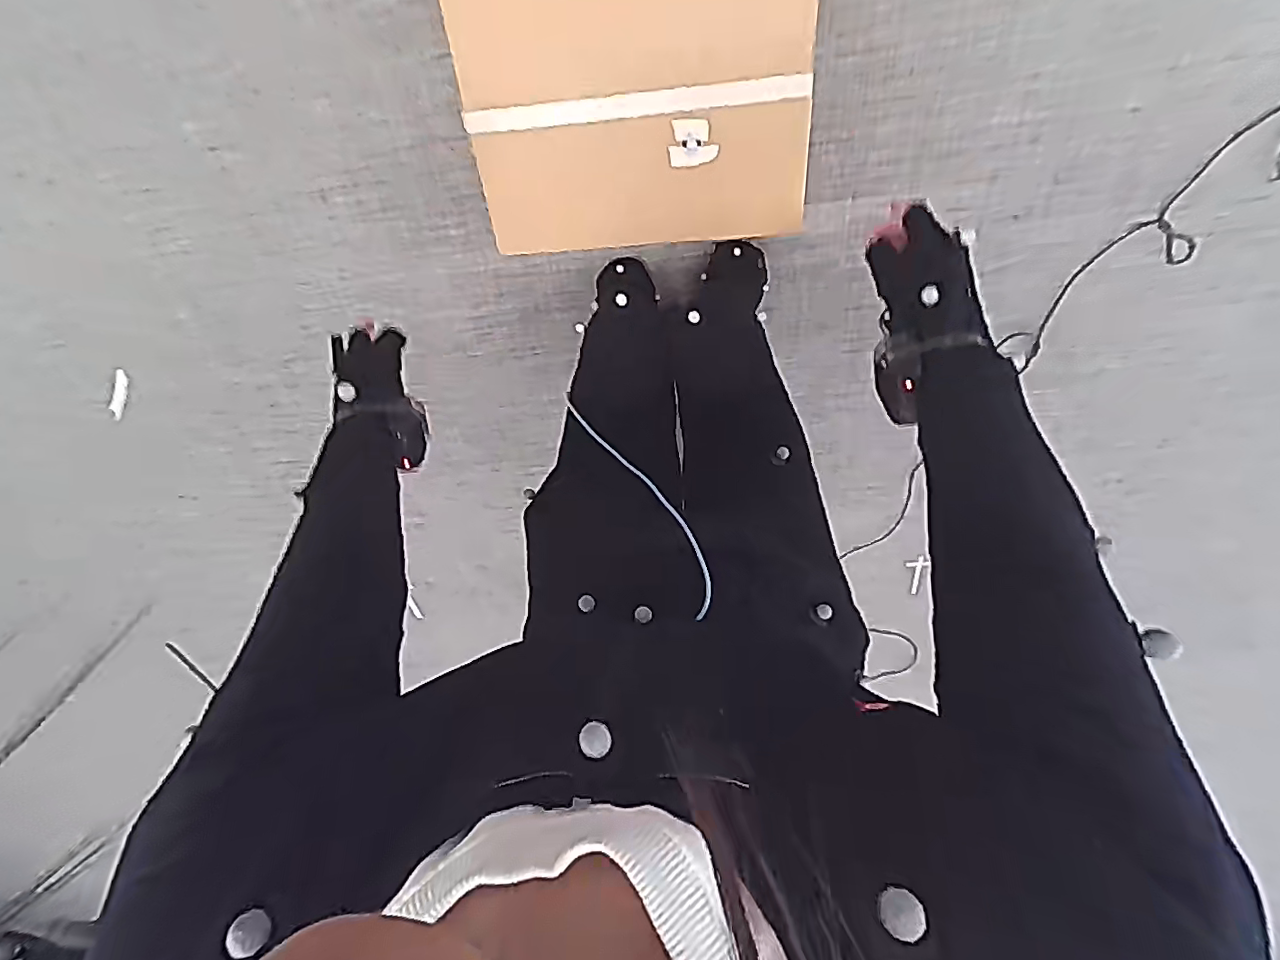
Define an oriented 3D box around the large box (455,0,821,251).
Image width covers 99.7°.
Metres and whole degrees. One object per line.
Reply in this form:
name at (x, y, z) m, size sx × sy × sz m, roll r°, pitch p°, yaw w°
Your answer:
large box at (0.012, -0.536, 0.759) m, size 0.408 × 0.320 × 0.320 m, roll -2°, pitch 126°, yaw 6°
